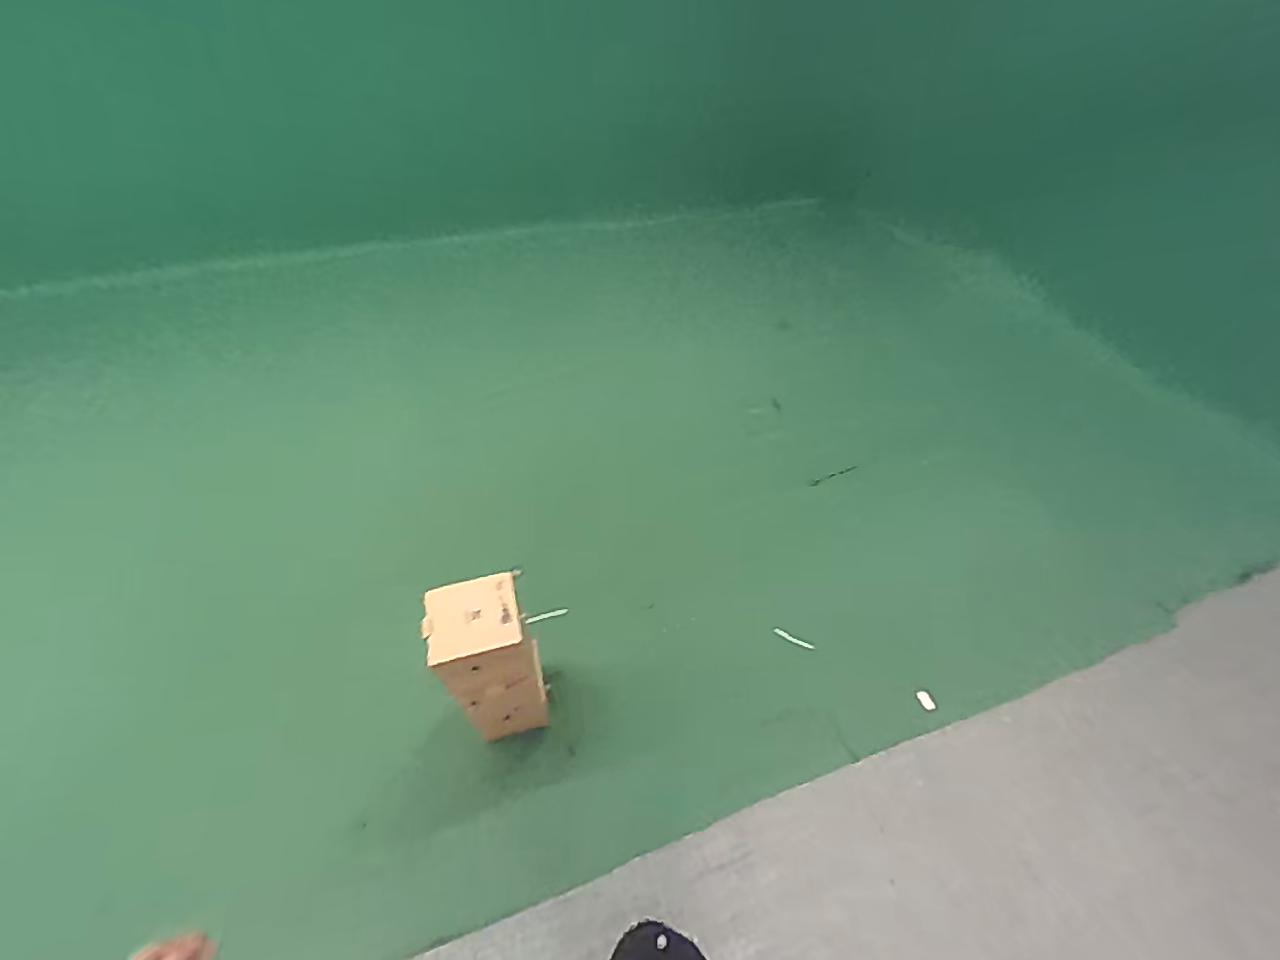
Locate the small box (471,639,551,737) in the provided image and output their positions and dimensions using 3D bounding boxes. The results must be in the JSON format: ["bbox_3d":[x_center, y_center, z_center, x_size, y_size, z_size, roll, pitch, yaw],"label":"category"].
[{"bbox_3d":[-0.326,0.530,1.374,0.179,0.176,0.168,-11,51,-11],"label":"small box"}]

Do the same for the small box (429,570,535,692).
[{"bbox_3d":[-0.325,0.317,1.124,0.179,0.176,0.168,-12,50,-12],"label":"small box"}]
